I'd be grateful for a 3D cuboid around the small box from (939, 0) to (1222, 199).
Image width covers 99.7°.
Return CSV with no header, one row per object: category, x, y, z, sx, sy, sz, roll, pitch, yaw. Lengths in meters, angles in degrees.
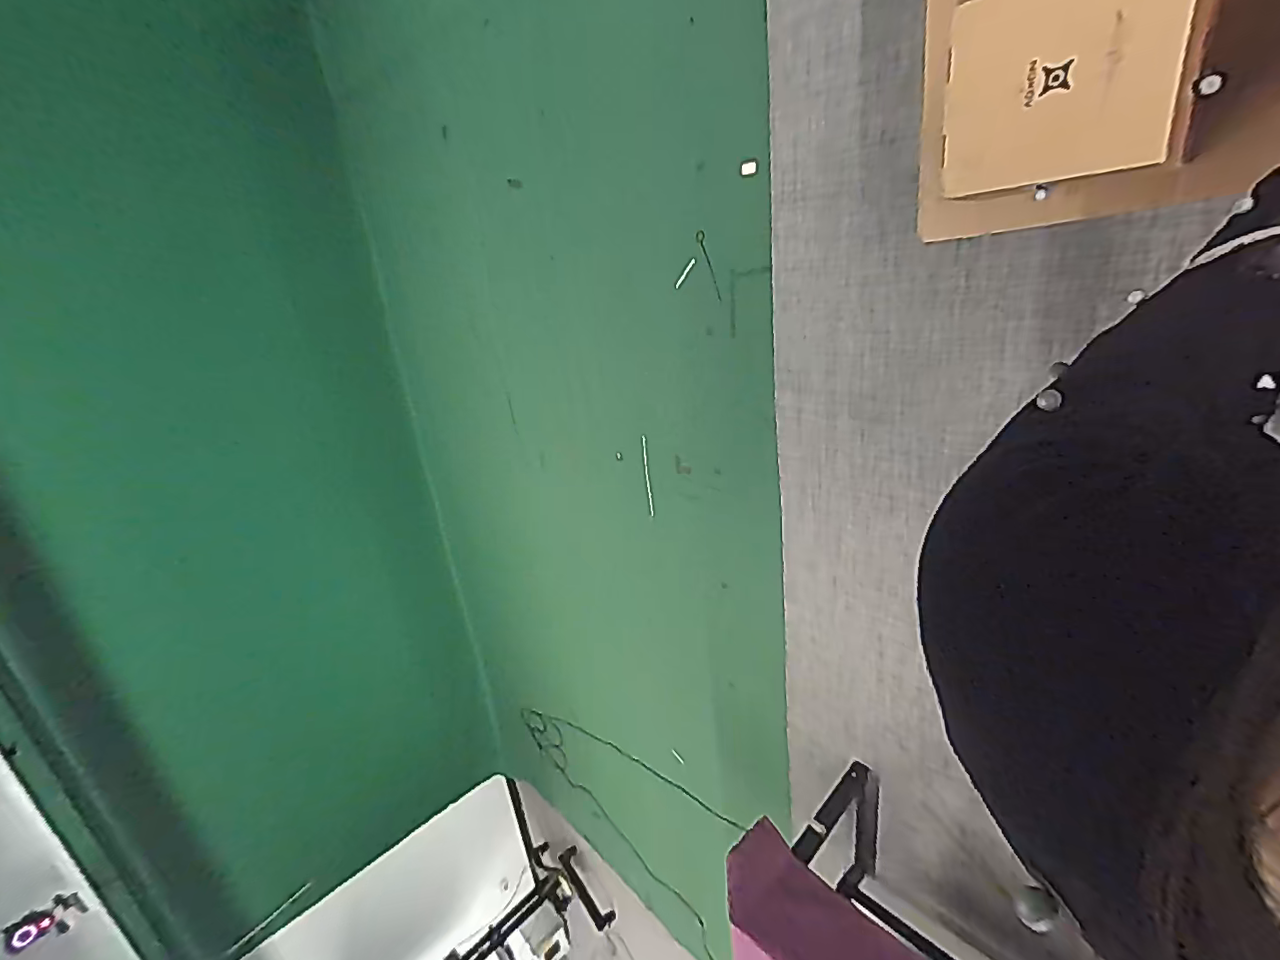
small box,0.426,-0.380,0.533,0.179,0.176,0.168,16,121,44
